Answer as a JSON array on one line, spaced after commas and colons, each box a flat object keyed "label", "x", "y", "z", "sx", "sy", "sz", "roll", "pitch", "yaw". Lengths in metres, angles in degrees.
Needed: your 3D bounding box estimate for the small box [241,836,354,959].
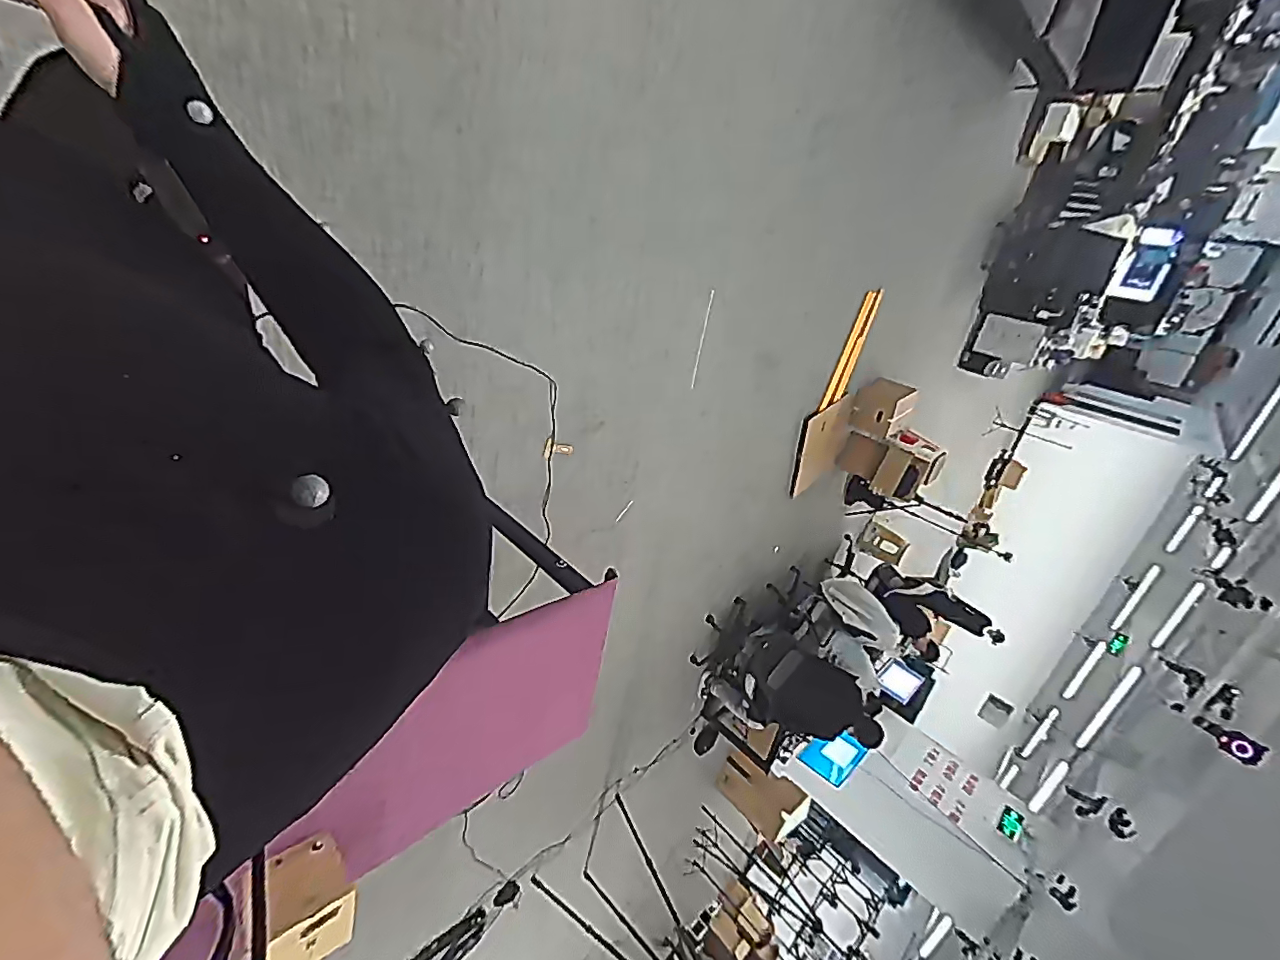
[{"label": "small box", "x": -0.736, "y": 0.910, "z": 1.156, "sx": 0.168, "sy": 0.176, "sz": 0.179, "roll": -8, "pitch": 121, "yaw": -47}]
